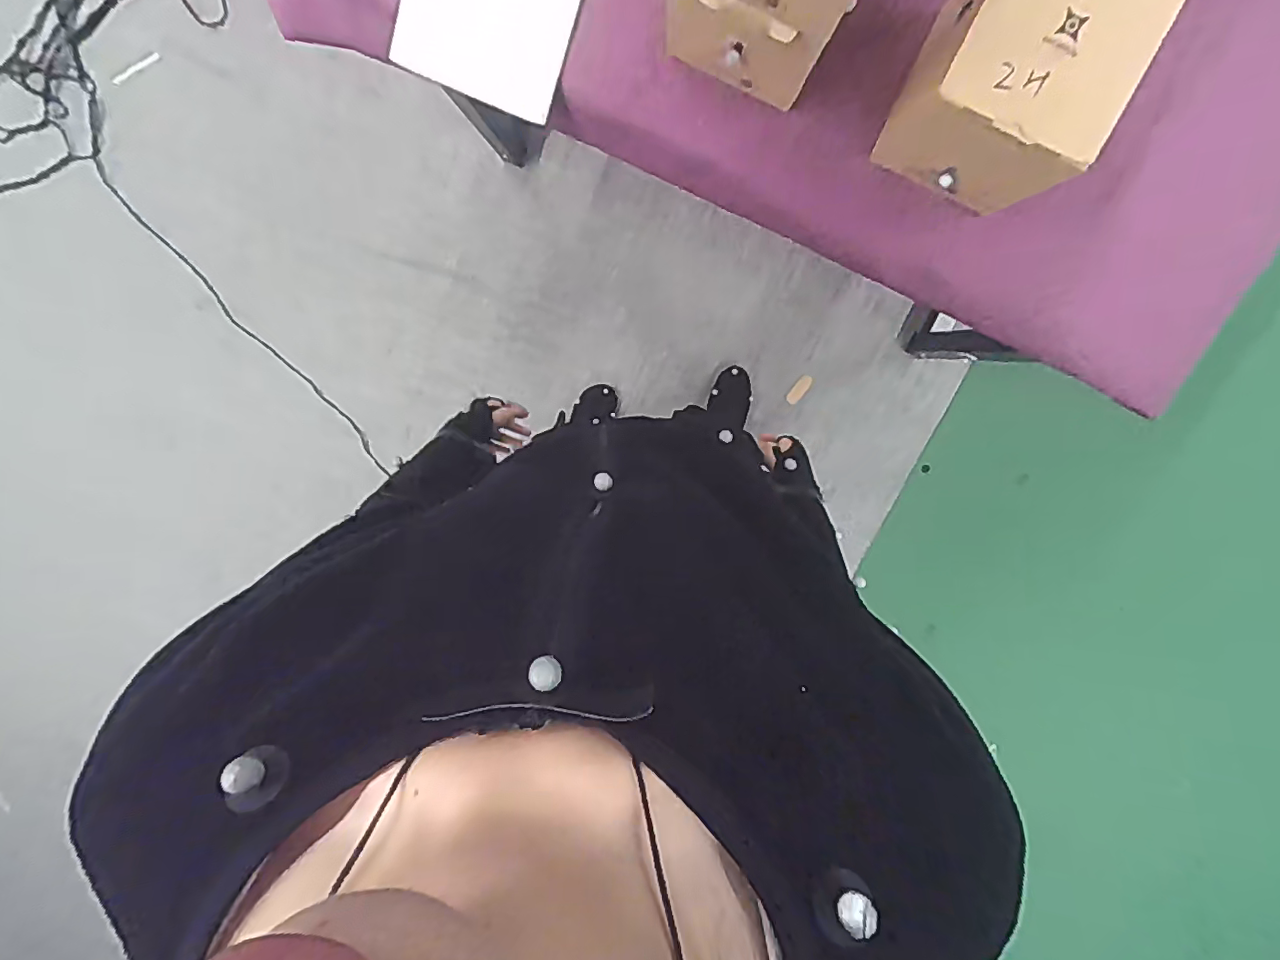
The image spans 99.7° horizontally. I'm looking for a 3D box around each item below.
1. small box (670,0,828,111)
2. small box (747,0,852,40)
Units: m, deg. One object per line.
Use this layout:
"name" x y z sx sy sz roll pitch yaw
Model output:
"small box" 0.138 -0.533 0.563 0.168 0.176 0.179 24 103 -4
"small box" 0.131 -0.491 0.404 0.168 0.176 0.179 24 102 -4
